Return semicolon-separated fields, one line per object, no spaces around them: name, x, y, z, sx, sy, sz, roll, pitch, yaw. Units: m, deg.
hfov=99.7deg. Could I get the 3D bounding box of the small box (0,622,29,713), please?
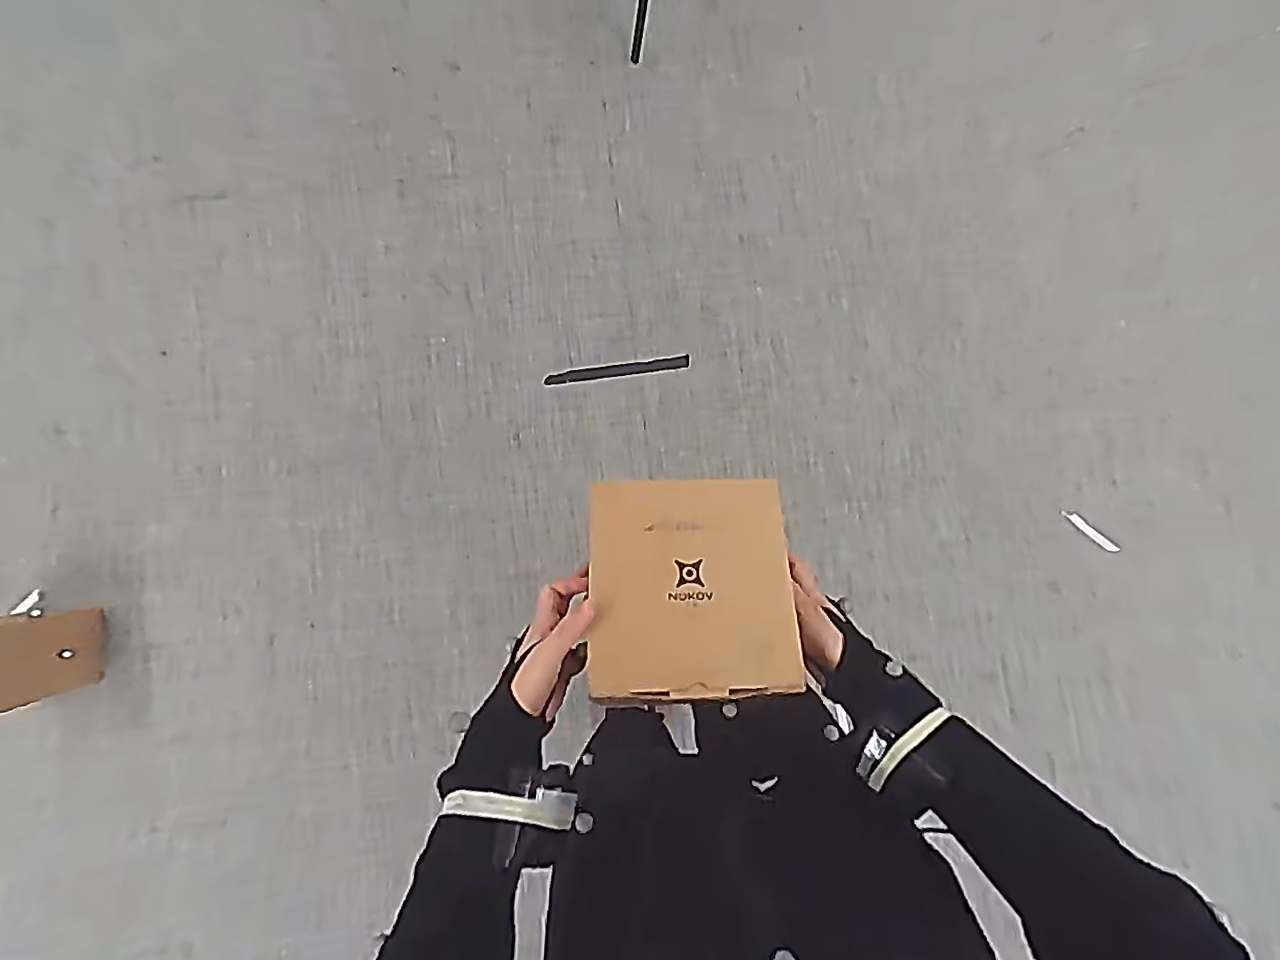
small box;-1.339;0.374;1.034;0.168;0.176;0.179;-3;87;-1
